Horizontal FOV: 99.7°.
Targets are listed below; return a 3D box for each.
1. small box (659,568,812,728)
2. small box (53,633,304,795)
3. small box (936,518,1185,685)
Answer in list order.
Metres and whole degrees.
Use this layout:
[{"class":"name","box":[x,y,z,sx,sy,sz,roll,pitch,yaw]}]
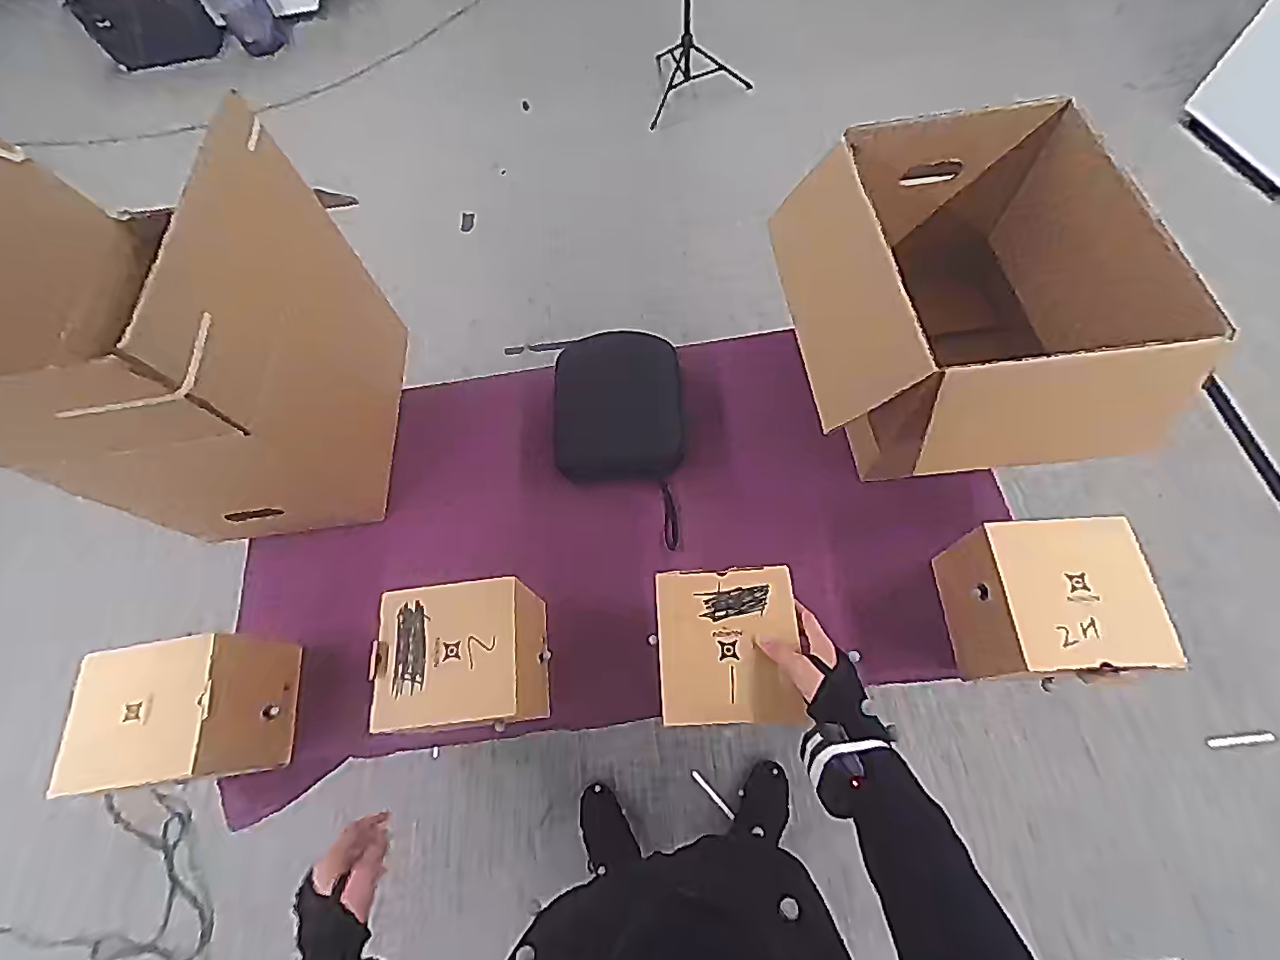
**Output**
[{"class":"small box","box":[0.112,0.224,0.703,0.168,0.176,0.179,-4,66,4]},{"class":"small box","box":[-0.600,0.314,0.731,0.179,0.176,0.168,-9,65,0]},{"class":"small box","box":[0.508,0.161,0.691,0.168,0.176,0.179,-3,65,5]}]
